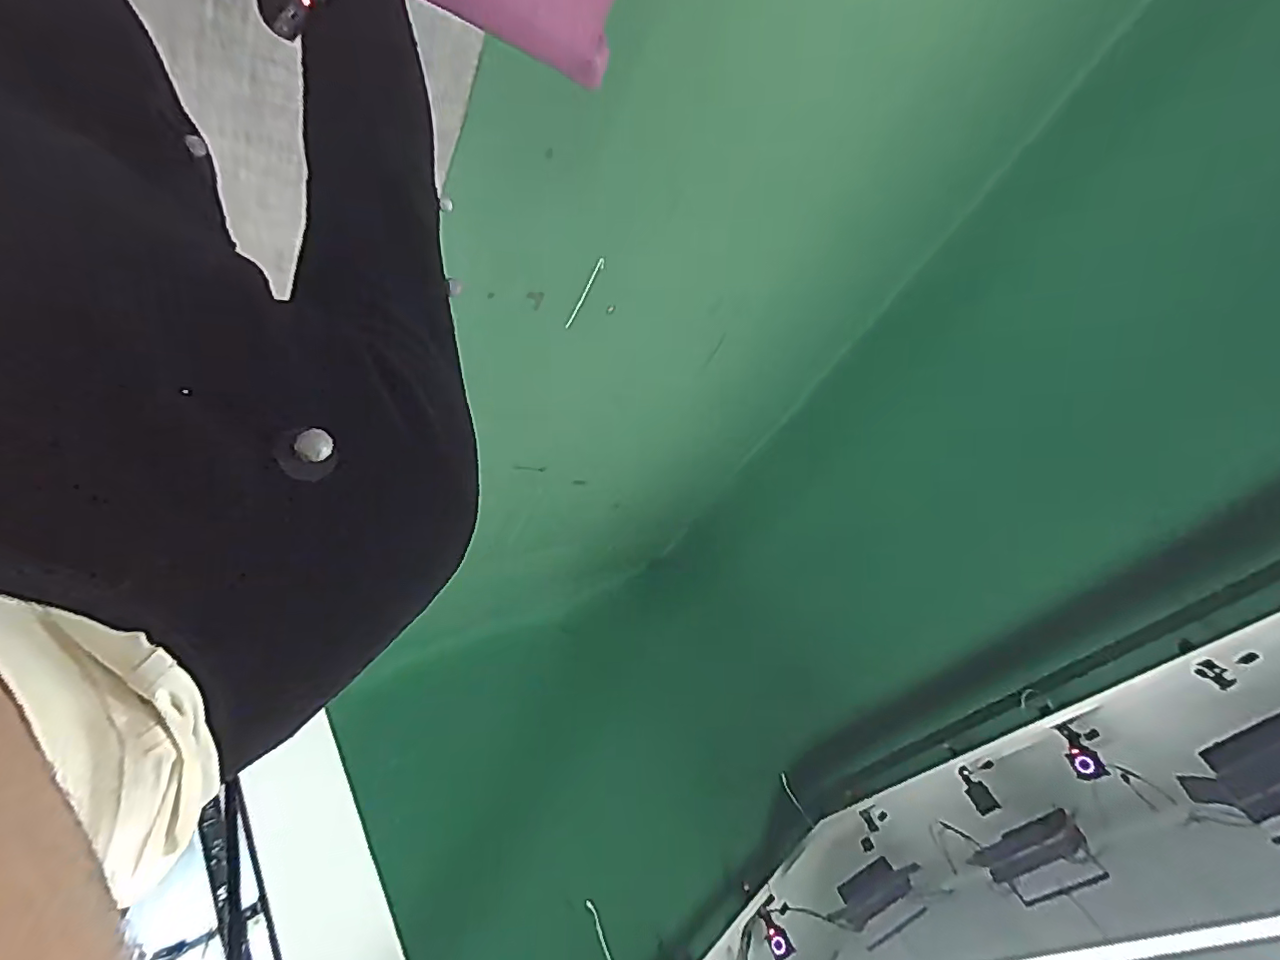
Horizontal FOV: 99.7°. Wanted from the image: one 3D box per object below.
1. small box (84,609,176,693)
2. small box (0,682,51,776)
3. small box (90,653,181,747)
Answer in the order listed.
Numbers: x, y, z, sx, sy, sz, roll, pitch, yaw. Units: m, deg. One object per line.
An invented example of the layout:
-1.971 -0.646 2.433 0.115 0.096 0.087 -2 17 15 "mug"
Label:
-1.549 0.511 1.640 0.179 0.176 0.168 0 138 -52 "small box"
-1.618 0.632 1.361 0.168 0.176 0.179 -1 139 -51 "small box"
-1.463 0.630 1.565 0.168 0.176 0.179 1 137 -52 "small box"
